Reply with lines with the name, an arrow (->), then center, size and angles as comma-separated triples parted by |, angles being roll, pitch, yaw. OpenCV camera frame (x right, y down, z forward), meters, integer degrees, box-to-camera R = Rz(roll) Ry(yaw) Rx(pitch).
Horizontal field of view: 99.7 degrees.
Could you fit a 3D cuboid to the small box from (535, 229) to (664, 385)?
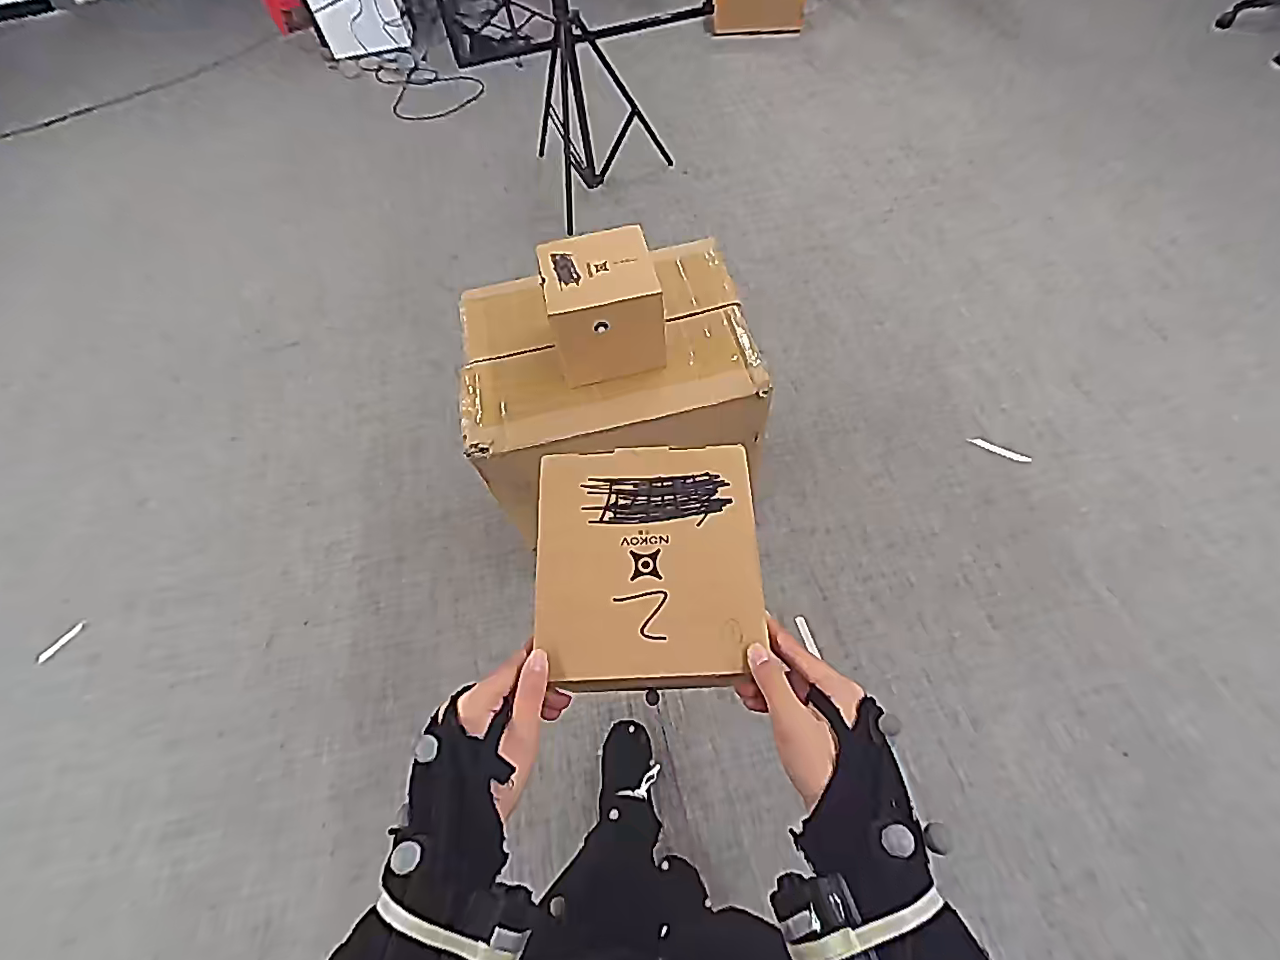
small box -> -0.063, -0.280, 0.904 | 0.179, 0.176, 0.168 | -13, 60, -2
